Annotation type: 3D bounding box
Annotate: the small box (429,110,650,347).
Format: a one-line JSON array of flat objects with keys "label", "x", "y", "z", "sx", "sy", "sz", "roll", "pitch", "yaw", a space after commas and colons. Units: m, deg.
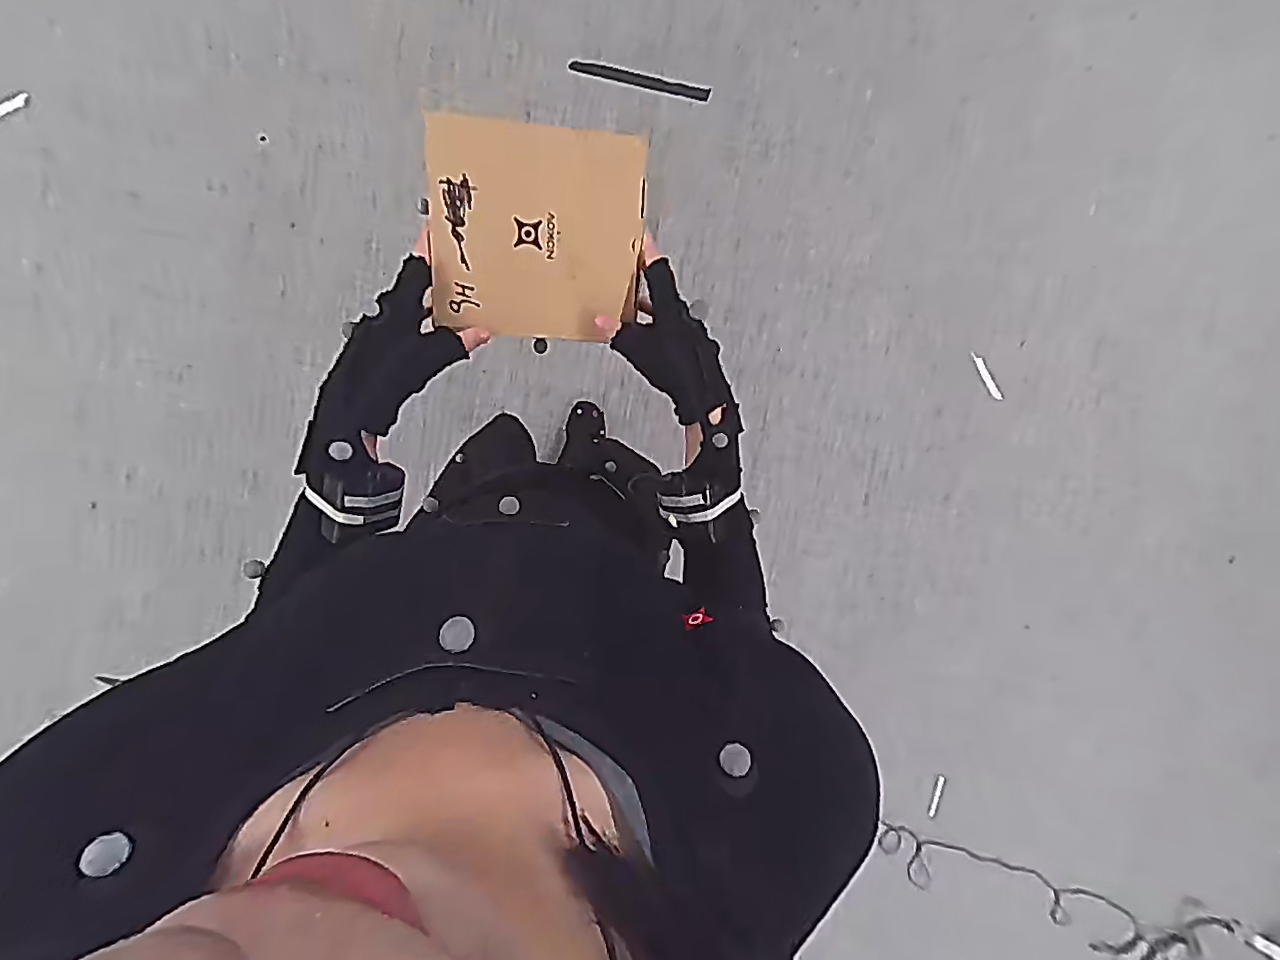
[{"label": "small box", "x": -0.097, "y": -0.222, "z": 0.523, "sx": 0.179, "sy": 0.176, "sz": 0.168, "roll": 2, "pitch": 104, "yaw": -10}]
